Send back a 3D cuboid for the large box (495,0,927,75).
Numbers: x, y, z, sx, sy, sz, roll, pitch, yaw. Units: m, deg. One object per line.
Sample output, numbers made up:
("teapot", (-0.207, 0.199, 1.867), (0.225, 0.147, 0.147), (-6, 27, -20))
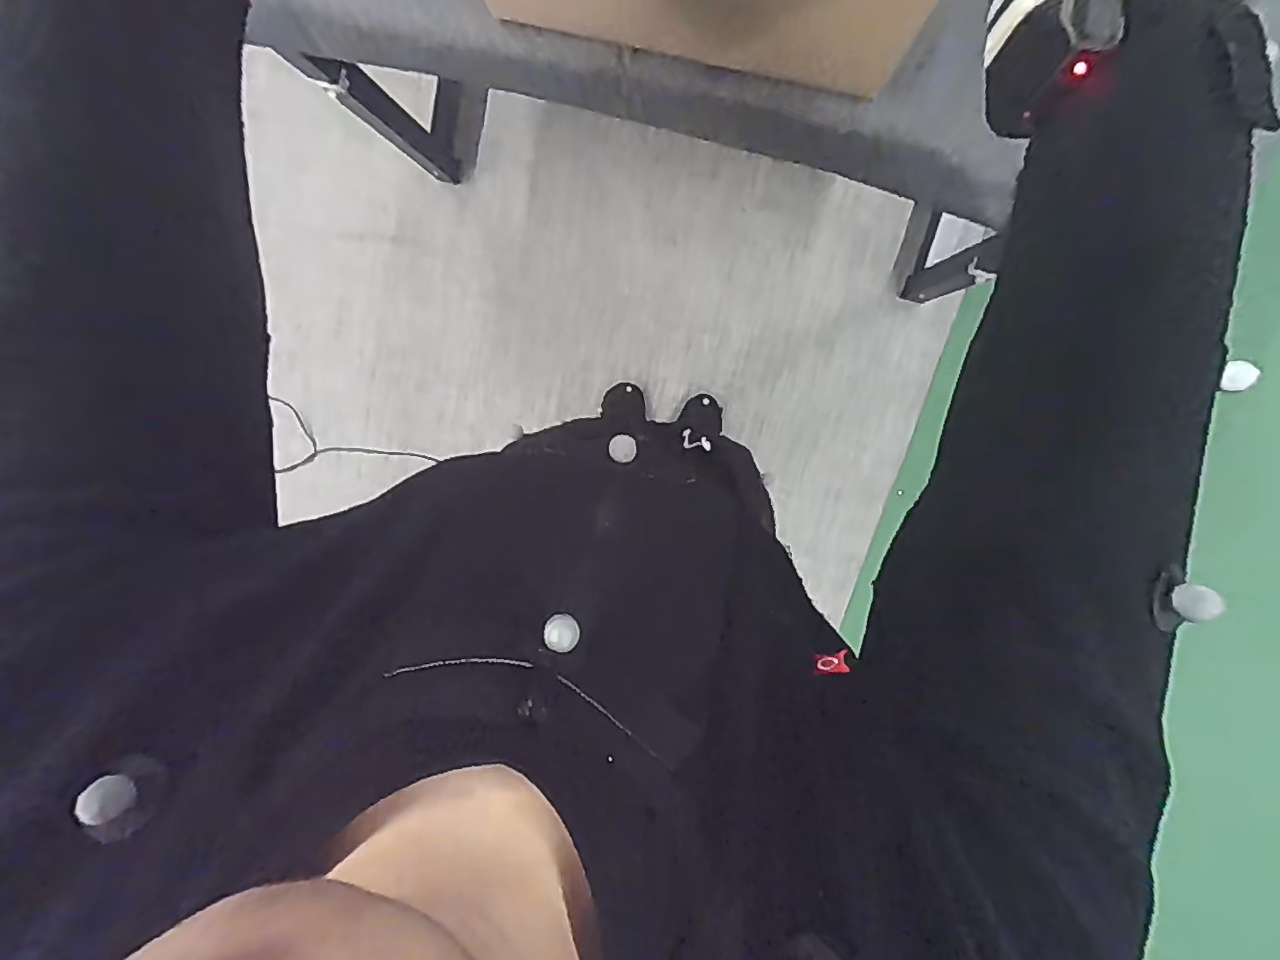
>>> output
("large box", (0.064, -0.561, 0.373), (0.408, 0.320, 0.320), (13, 101, 1))
